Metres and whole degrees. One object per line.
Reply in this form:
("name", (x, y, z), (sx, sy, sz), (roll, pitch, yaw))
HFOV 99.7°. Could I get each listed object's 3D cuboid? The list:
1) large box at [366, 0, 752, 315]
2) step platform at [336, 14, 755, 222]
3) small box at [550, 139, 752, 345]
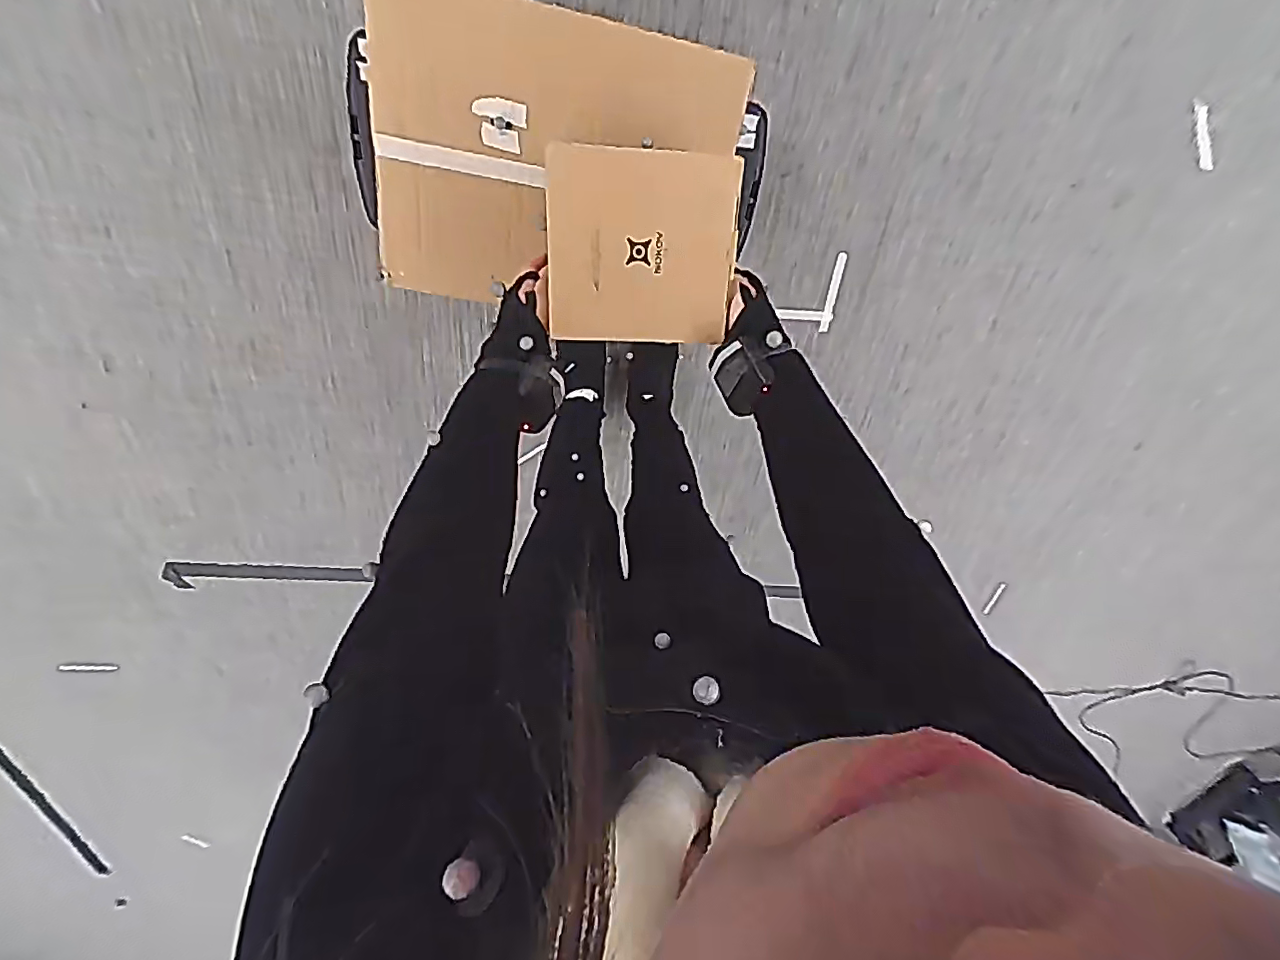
("large box", (-0.106, -0.426, 0.753), (0.408, 0.320, 0.320), (7, 121, -9))
("step platform", (-0.149, -0.547, 0.956), (0.684, 0.204, 0.286), (9, 121, -11))
("small box", (-0.003, -0.241, 0.559), (0.179, 0.176, 0.168), (-1, 115, -7))
